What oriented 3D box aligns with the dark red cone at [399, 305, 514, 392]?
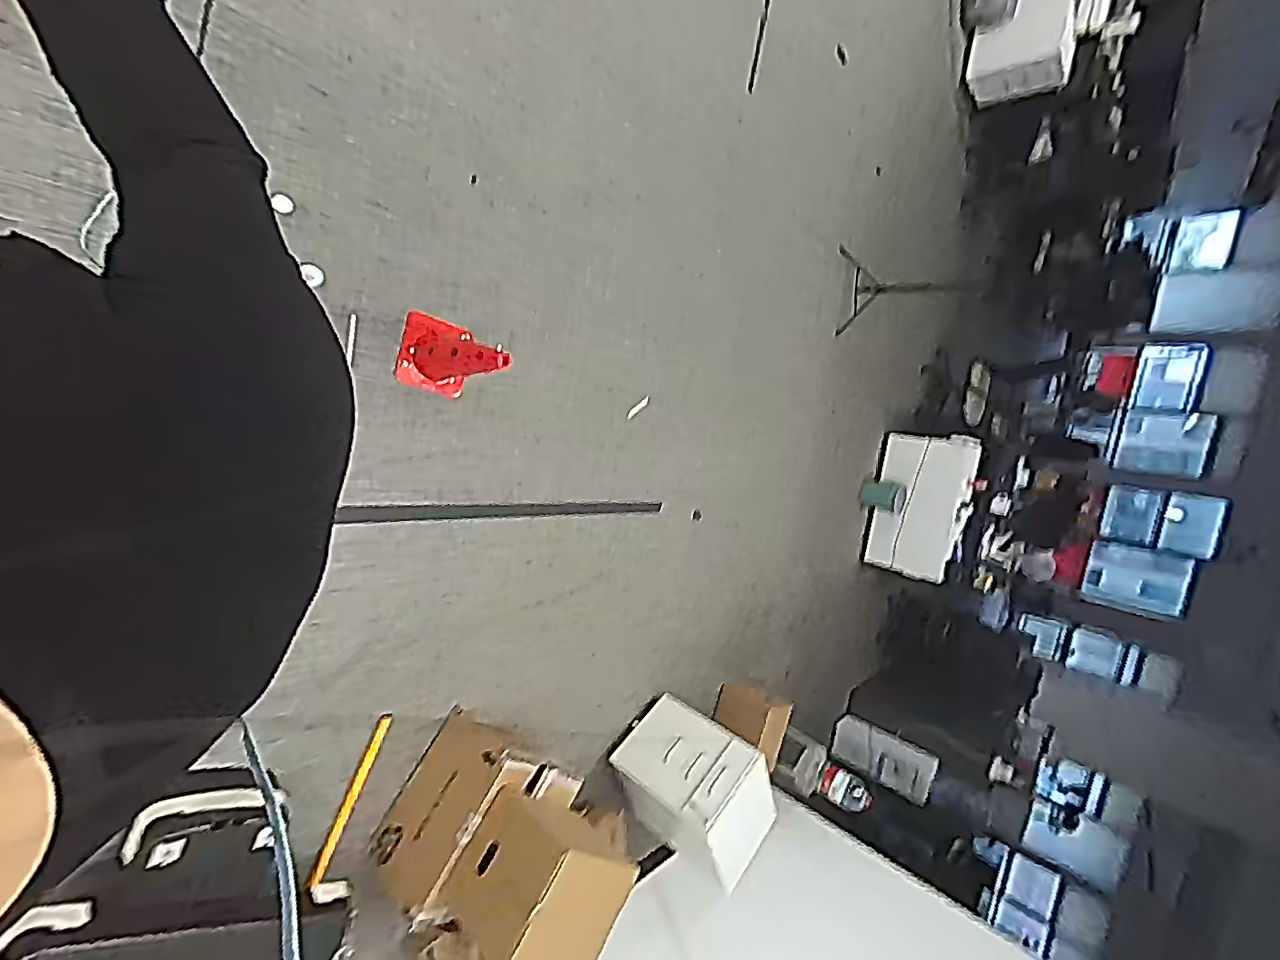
[{"bbox_3d":[-0.443,-0.327,1.391,0.201,0.394,0.202,11,93,-47],"label":"dark red cone"}]
